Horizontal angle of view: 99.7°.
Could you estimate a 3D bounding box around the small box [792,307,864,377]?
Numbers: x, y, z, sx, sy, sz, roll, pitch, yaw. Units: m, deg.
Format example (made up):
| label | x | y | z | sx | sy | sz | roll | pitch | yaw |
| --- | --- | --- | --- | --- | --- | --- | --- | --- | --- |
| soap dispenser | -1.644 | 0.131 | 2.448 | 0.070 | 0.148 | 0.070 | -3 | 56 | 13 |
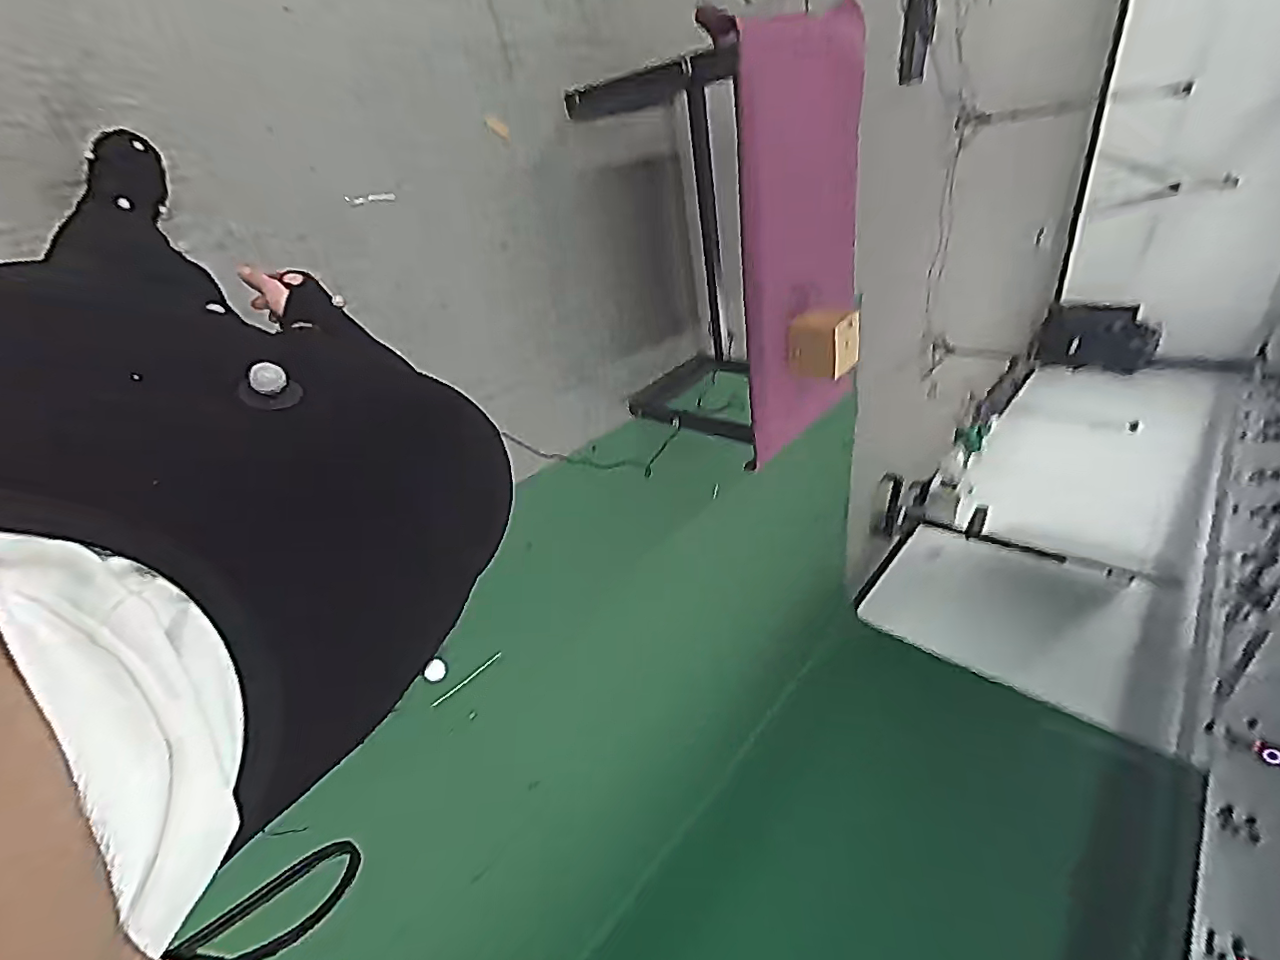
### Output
| label | x | y | z | sx | sy | sz | roll | pitch | yaw |
| --- | --- | --- | --- | --- | --- | --- | --- | --- | --- |
| small box | 0.618 | -0.461 | 1.787 | 0.168 | 0.176 | 0.179 | -36 | 129 | -33 |
